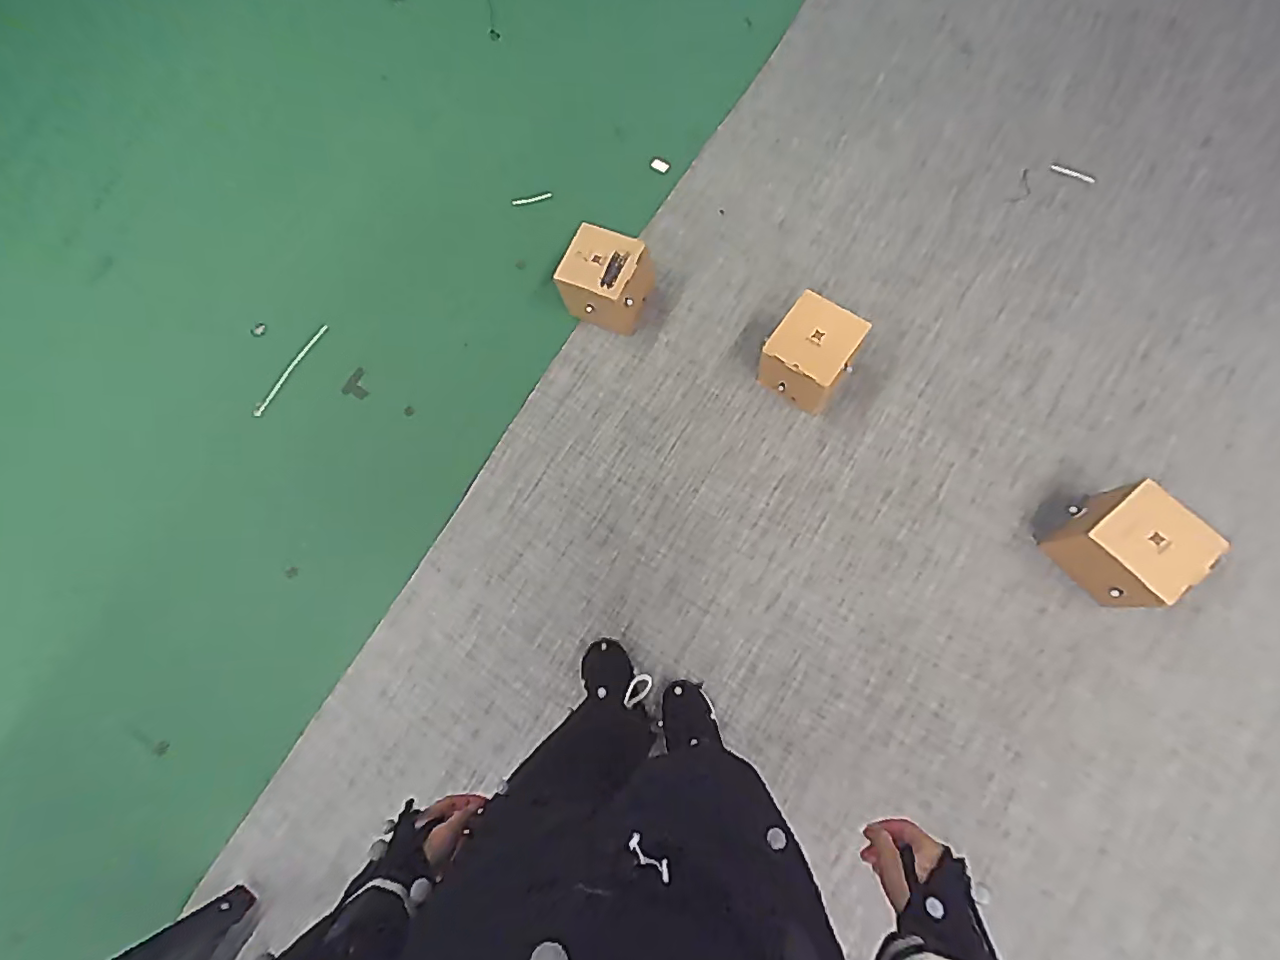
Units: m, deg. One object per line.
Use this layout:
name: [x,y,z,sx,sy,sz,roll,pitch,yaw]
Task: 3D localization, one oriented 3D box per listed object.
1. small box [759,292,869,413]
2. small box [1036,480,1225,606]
small box: [0.387,-0.285,1.241,0.168,0.176,0.179,35,84,14]
small box: [0.949,0.130,1.065,0.168,0.176,0.179,-41,74,-4]
